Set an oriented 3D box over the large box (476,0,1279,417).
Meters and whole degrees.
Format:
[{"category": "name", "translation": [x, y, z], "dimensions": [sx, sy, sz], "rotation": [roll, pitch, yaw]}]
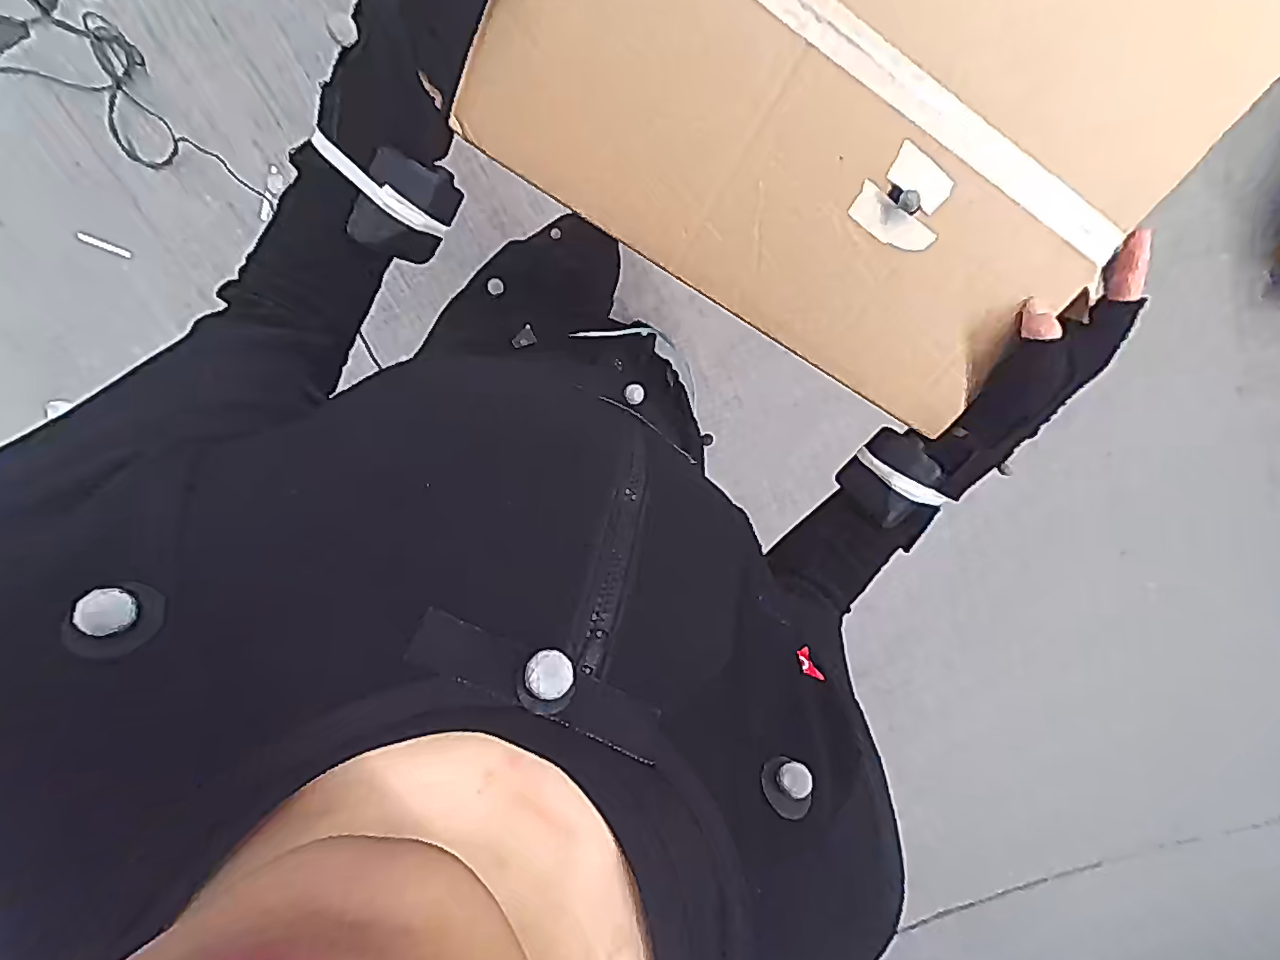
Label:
[{"category": "large box", "translation": [0.142, -0.322, 0.454], "dimensions": [0.408, 0.320, 0.320], "rotation": [28, 117, -13]}]
